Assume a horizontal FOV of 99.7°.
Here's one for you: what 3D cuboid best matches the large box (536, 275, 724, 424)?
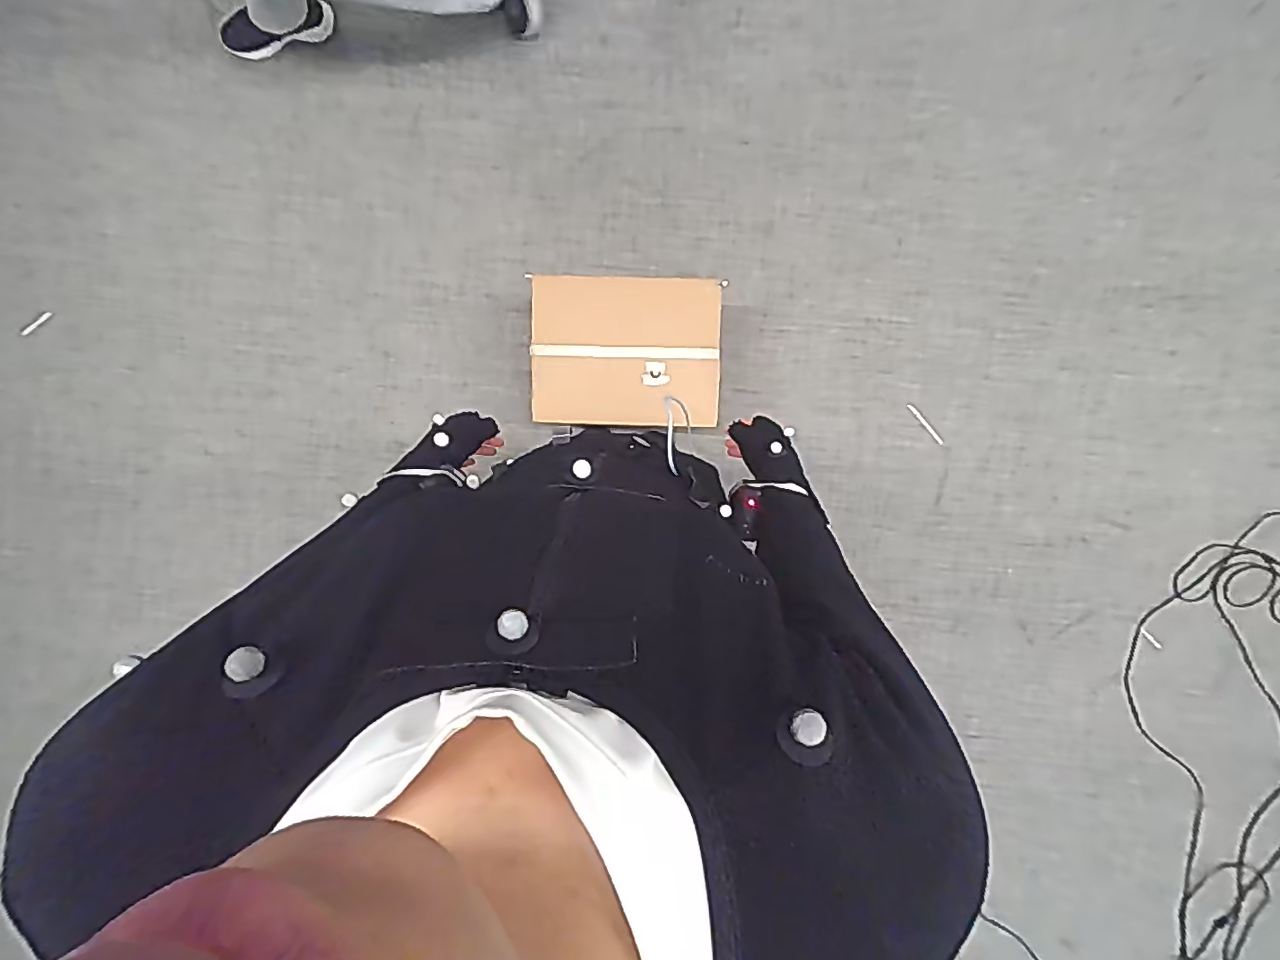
[{"bbox_3d":[-0.023,-0.293,1.304,0.408,0.320,0.320,2,97,1],"label":"large box"}]
